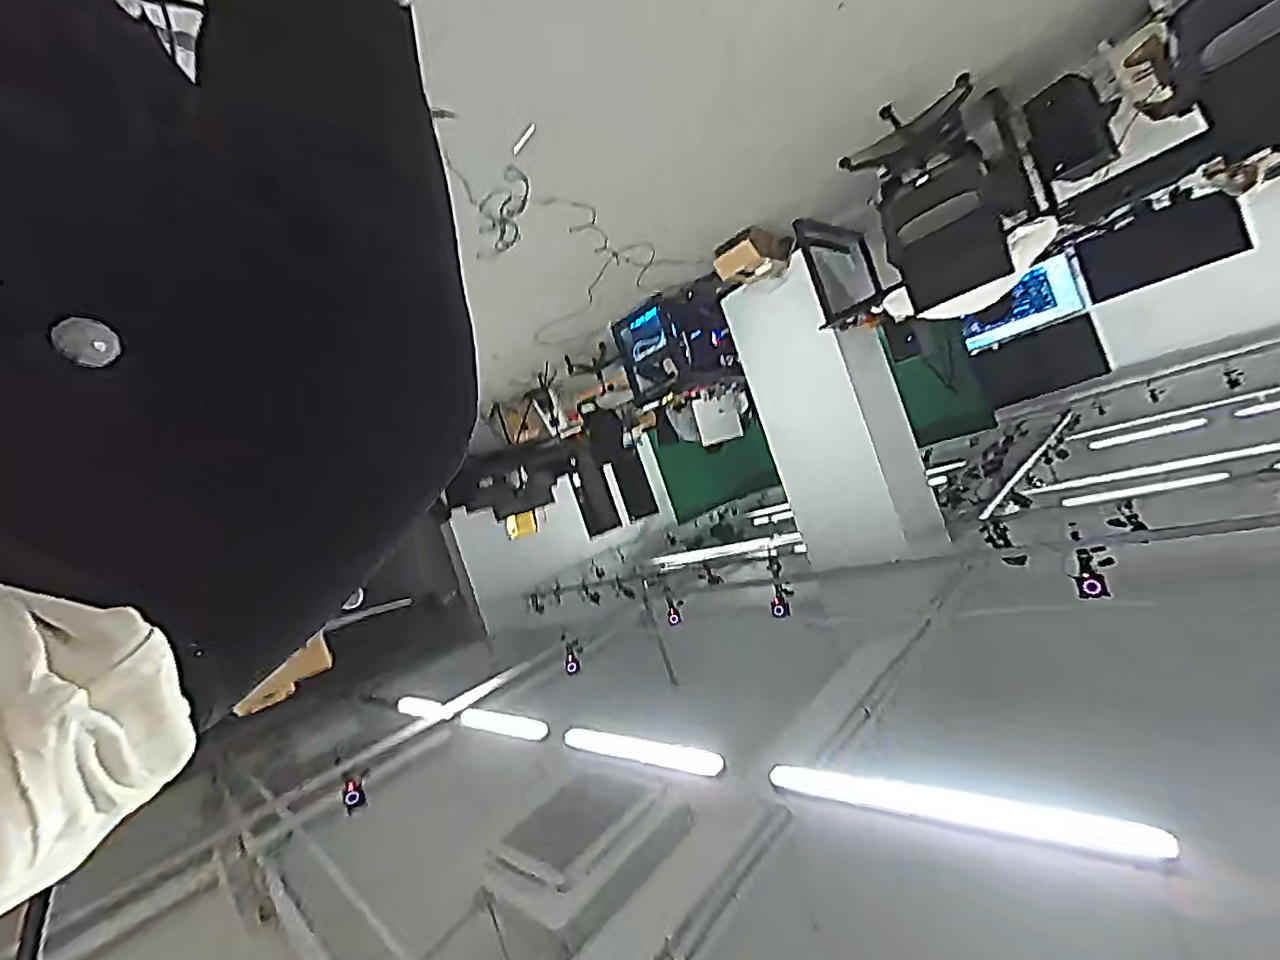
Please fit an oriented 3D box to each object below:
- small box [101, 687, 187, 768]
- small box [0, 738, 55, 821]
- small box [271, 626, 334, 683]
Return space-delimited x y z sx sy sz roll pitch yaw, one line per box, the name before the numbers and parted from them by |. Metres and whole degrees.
small box | -1.570 0.773 1.712 0.168 0.176 0.179 -19 -179 -44
small box | -1.772 0.842 1.502 0.179 0.176 0.168 -18 -179 44
small box | -1.388 0.711 2.217 0.168 0.176 0.179 -19 178 -43
